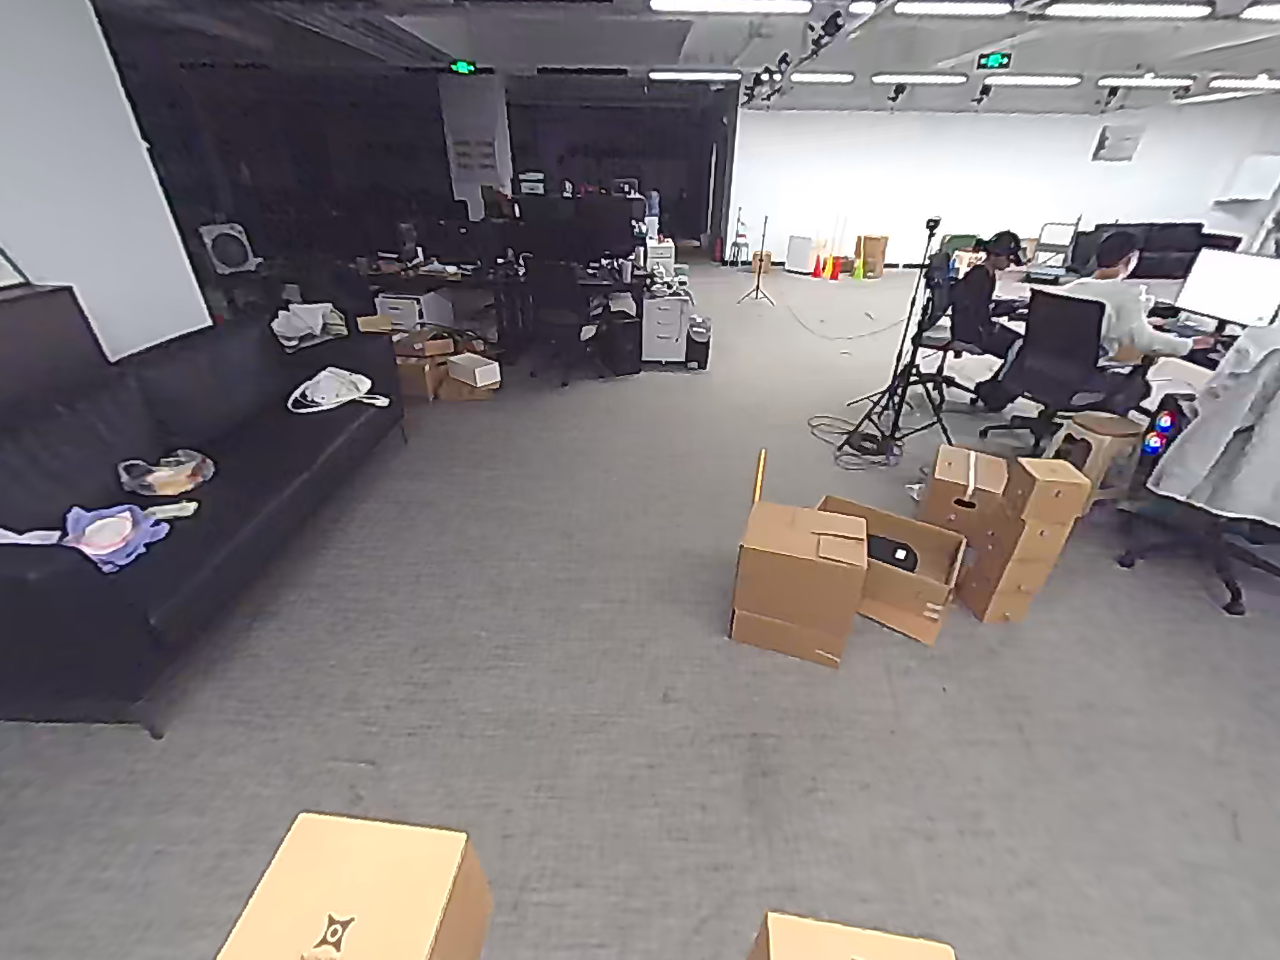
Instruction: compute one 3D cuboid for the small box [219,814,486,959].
[{"bbox_3d":[-0.246,0.435,0.477,0.168,0.176,0.179,5,37,5],"label":"small box"}]
